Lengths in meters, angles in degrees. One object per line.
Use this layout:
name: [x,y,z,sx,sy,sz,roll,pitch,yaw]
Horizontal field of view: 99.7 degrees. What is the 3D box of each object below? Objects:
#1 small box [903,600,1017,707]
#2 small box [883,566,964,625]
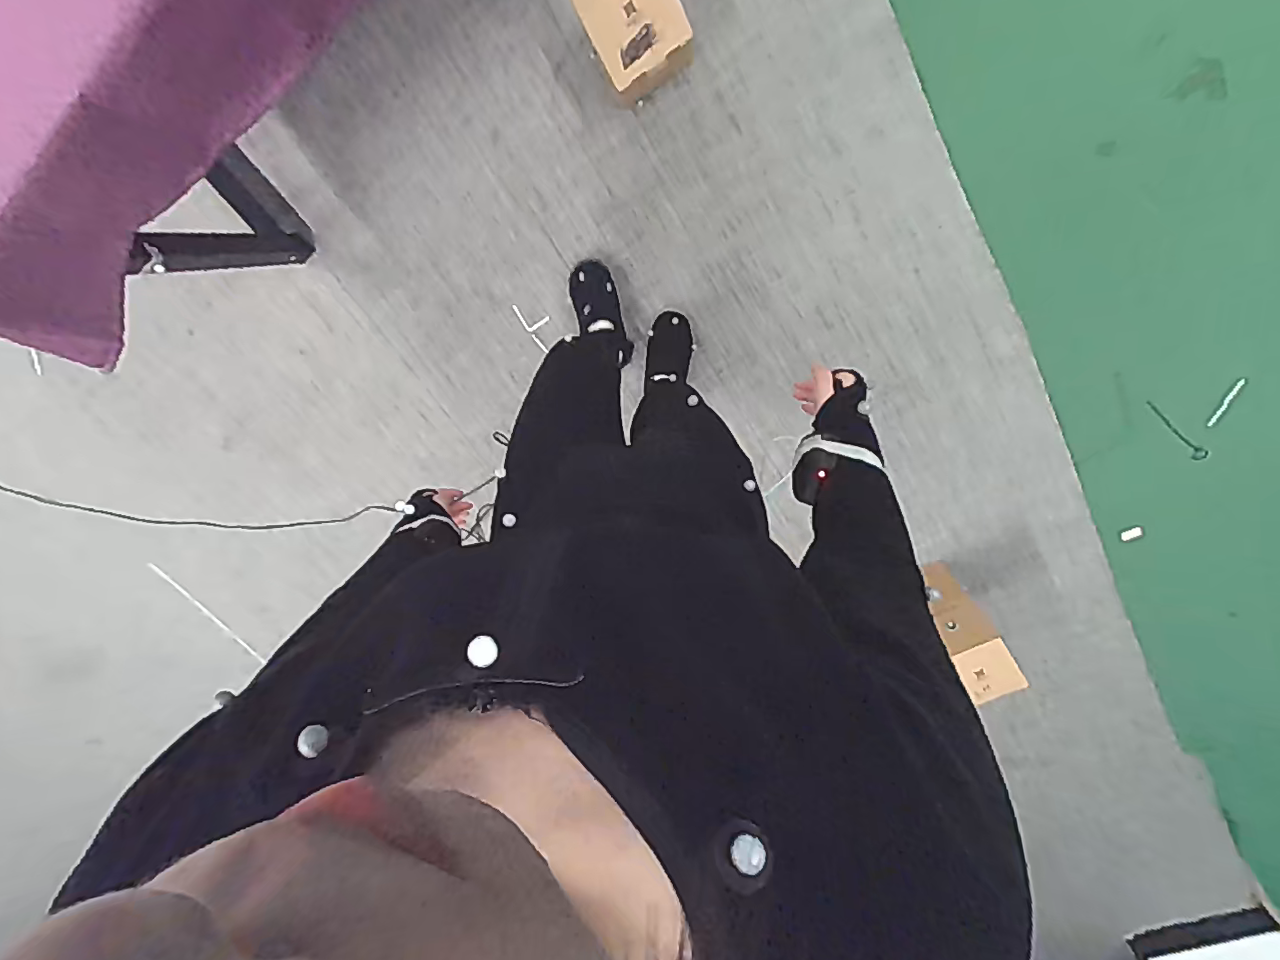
small box: [0.803,0.432,1.375,0.168,0.176,0.179,-31,108,19]
small box: [0.817,0.367,1.526,0.168,0.176,0.179,-30,109,18]
